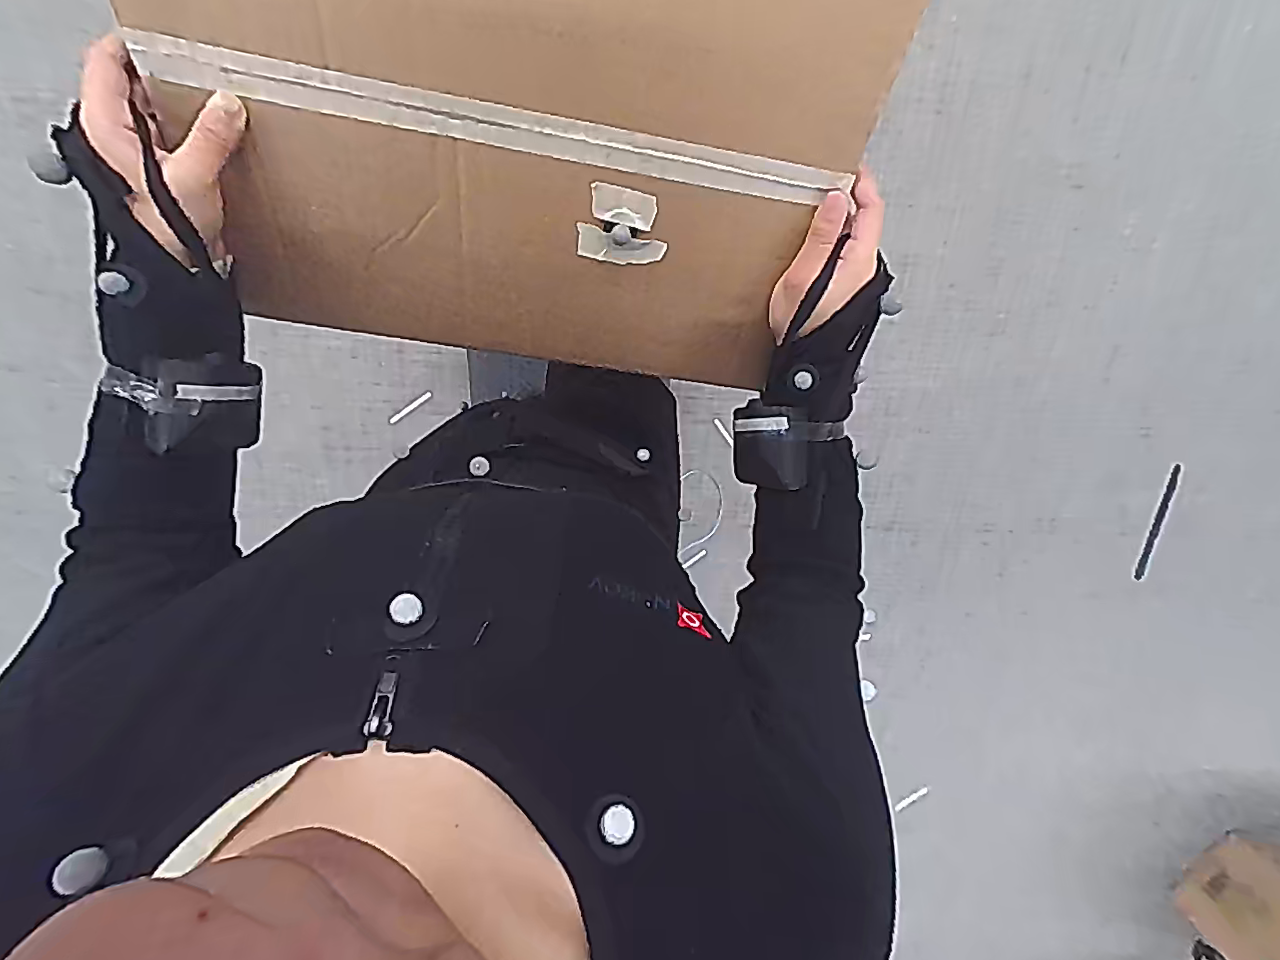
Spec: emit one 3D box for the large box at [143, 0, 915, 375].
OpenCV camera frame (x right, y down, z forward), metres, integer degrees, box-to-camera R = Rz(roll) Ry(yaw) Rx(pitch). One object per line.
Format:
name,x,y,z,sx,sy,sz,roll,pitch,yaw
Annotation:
large box,-0.070,-0.316,0.425,0.408,0.320,0.320,6,137,-8
